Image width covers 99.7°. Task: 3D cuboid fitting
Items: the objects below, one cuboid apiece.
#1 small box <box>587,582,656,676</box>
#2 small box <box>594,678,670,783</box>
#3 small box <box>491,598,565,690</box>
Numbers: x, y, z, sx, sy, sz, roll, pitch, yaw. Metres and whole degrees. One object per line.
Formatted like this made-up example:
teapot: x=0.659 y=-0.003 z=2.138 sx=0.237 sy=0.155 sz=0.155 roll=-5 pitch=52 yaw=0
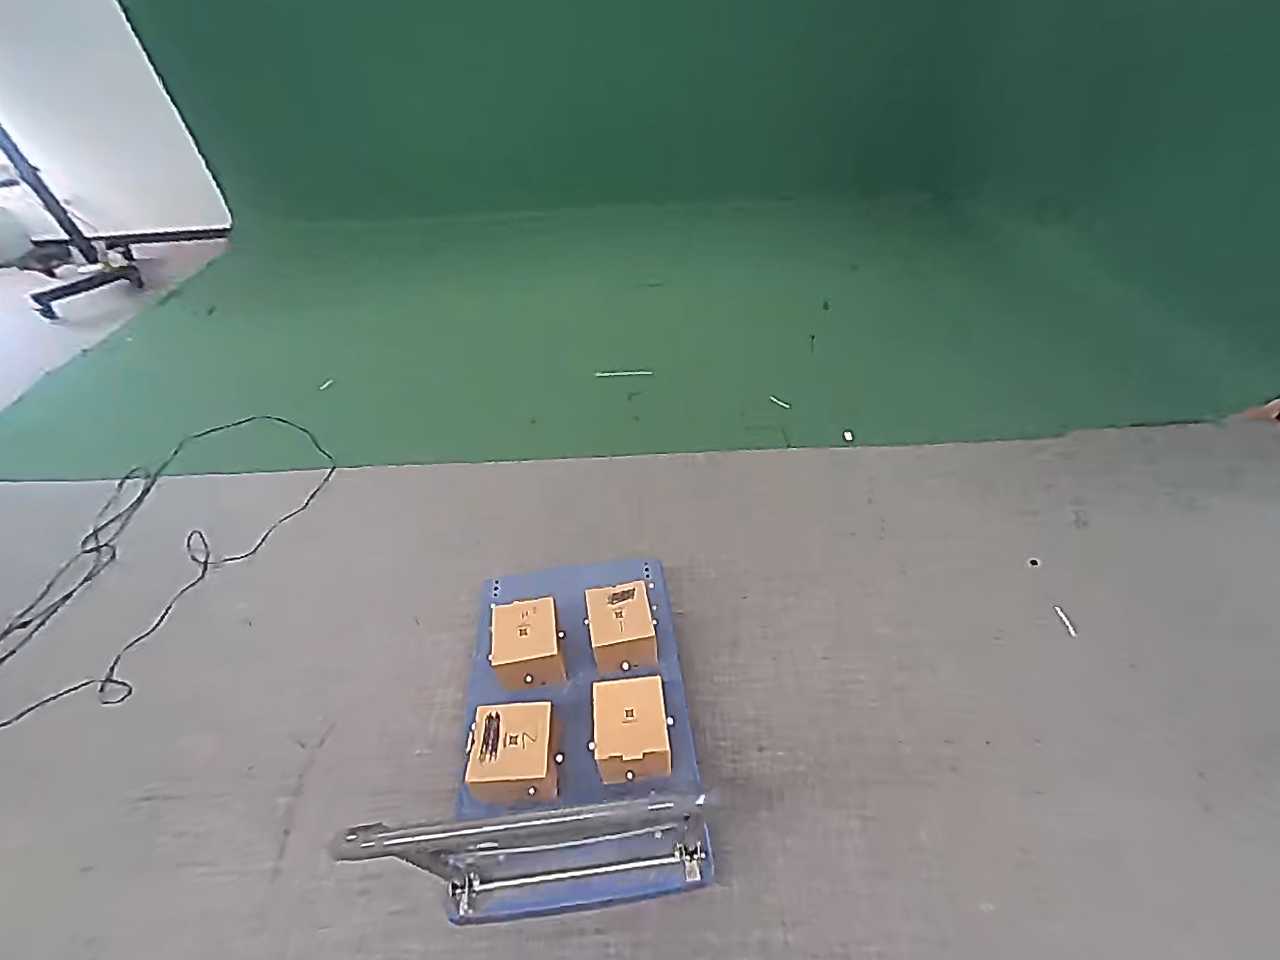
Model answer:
small box: x=-0.051 y=0.409 z=1.483 sx=0.168 sy=0.176 sz=0.179 roll=-9 pitch=46 yaw=-4
small box: x=-0.022 y=0.599 z=1.292 sx=0.168 sy=0.176 sz=0.179 roll=-5 pitch=45 yaw=-2
small box: x=-0.299 y=0.449 z=1.459 sx=0.168 sy=0.176 sz=0.179 roll=-8 pitch=45 yaw=-6
